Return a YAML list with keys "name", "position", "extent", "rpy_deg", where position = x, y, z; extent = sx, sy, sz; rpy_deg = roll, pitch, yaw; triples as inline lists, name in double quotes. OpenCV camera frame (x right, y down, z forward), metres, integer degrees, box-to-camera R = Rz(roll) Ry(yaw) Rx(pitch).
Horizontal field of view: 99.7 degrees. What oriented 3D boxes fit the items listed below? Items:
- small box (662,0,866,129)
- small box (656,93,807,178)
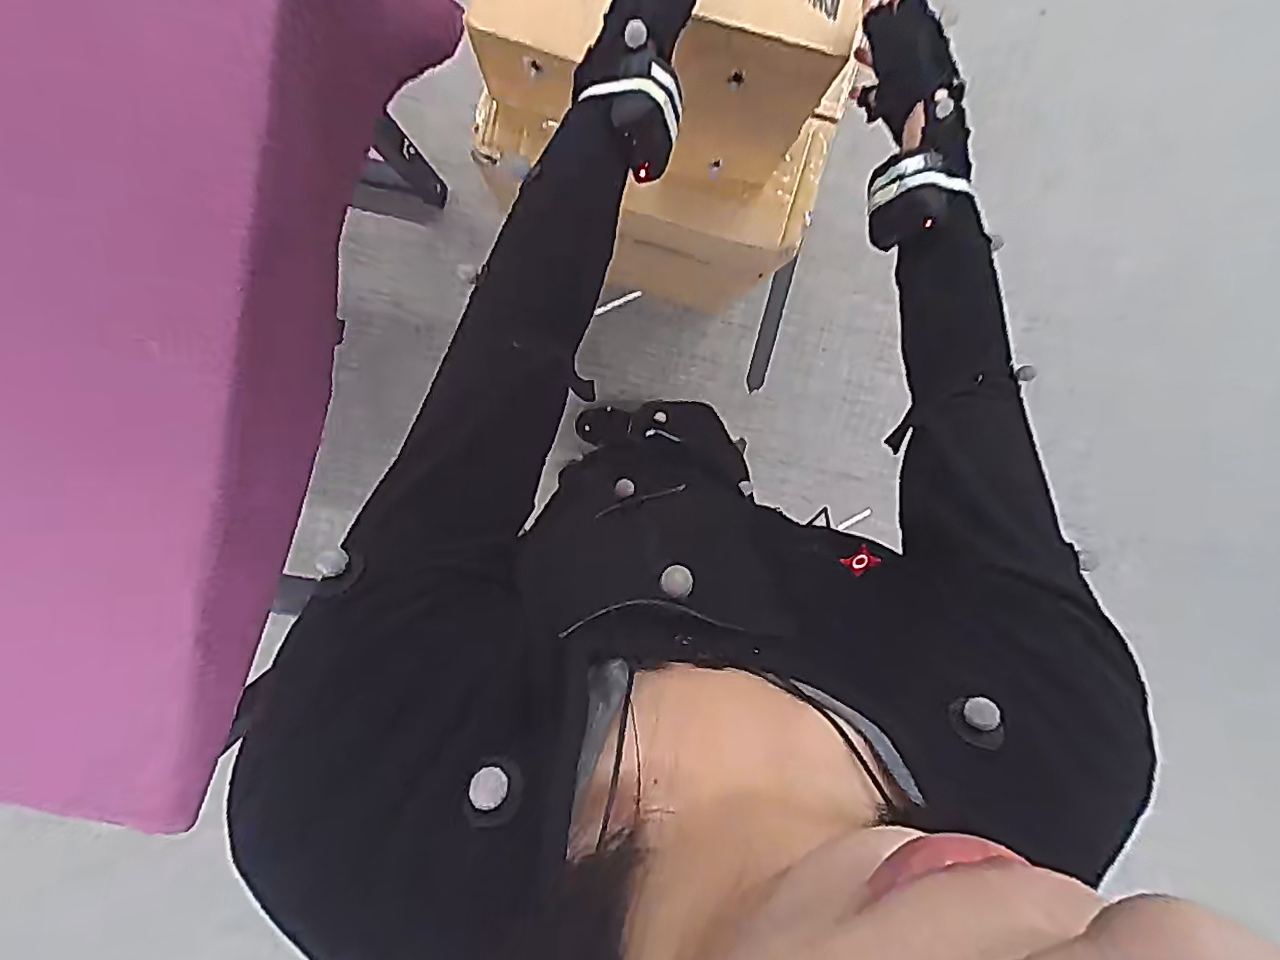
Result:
- name: "small box"
  position: [0.128, -0.505, 0.566]
  extent: [0.179, 0.176, 0.168]
  rpy_deg: [13, 98, -3]
- name: "small box"
  position: [0.124, -0.532, 0.729]
  extent: [0.179, 0.176, 0.168]
  rpy_deg: [7, 98, -3]
